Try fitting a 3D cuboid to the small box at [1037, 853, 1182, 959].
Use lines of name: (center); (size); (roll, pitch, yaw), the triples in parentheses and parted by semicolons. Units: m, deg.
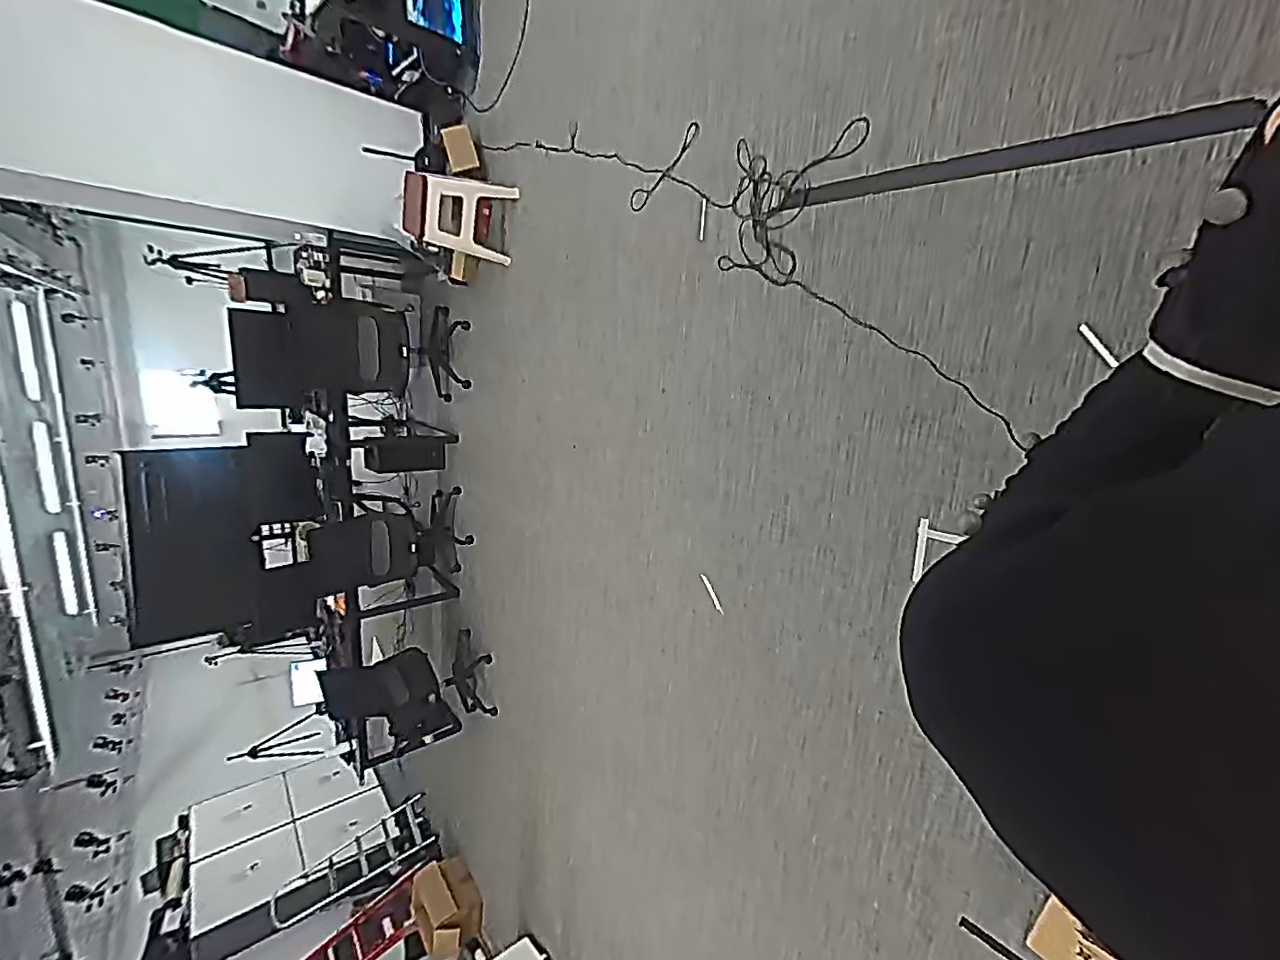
small box: (0.957, 0.918, 1.101); (0.168, 0.176, 0.179); (29, 118, 46)
